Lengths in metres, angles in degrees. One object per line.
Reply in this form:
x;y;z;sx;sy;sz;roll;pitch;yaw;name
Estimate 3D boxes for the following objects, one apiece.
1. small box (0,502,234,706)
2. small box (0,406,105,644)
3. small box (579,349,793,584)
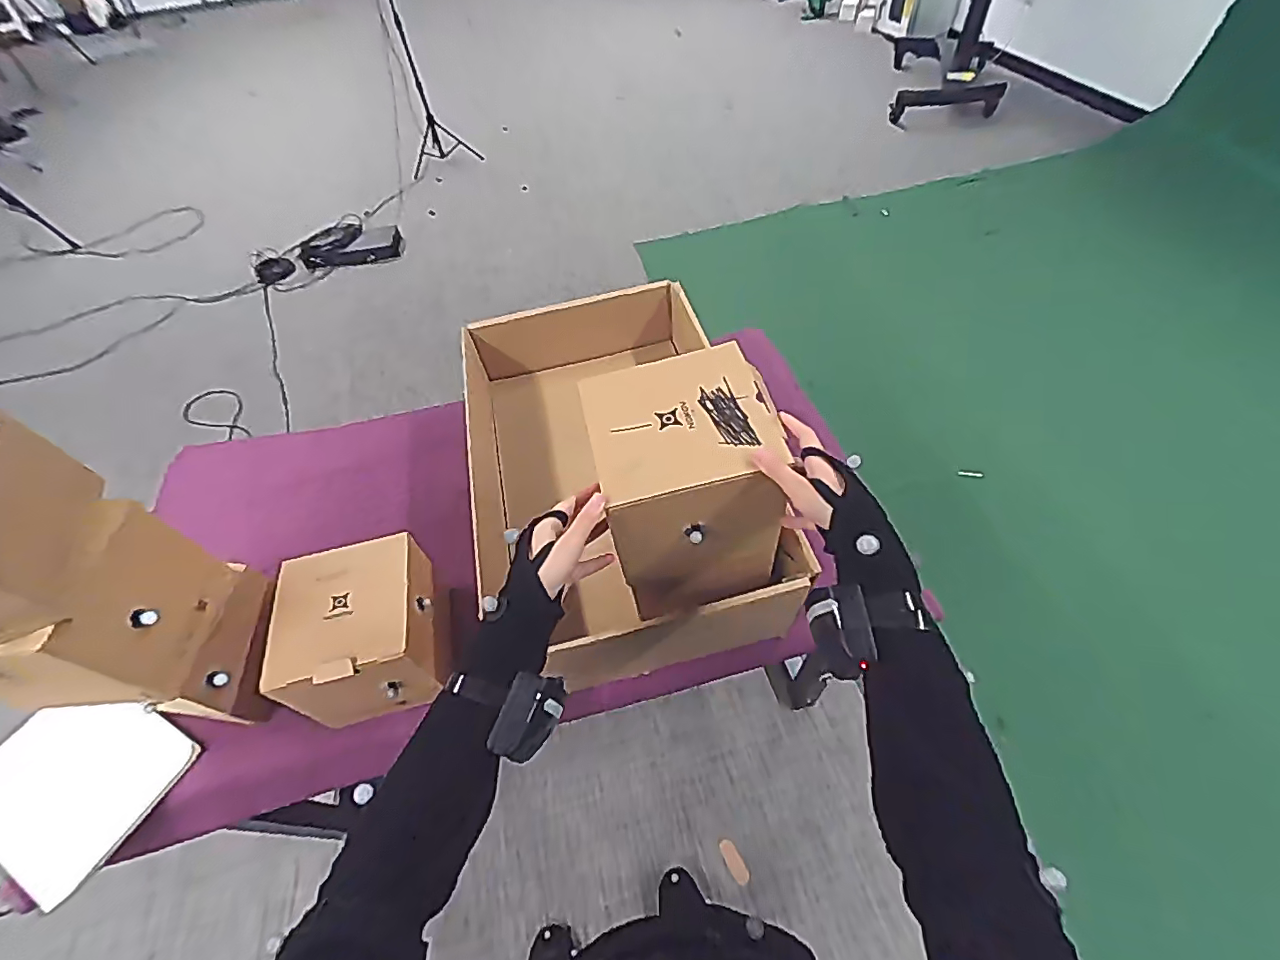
-0.606;0.141;0.594;0.179;0.176;0.168;-4;53;3;small box
-0.624;0.042;0.463;0.168;0.176;0.179;-22;55;-10;small box
0.044;-0.009;0.584;0.179;0.176;0.168;-14;54;-2;small box
